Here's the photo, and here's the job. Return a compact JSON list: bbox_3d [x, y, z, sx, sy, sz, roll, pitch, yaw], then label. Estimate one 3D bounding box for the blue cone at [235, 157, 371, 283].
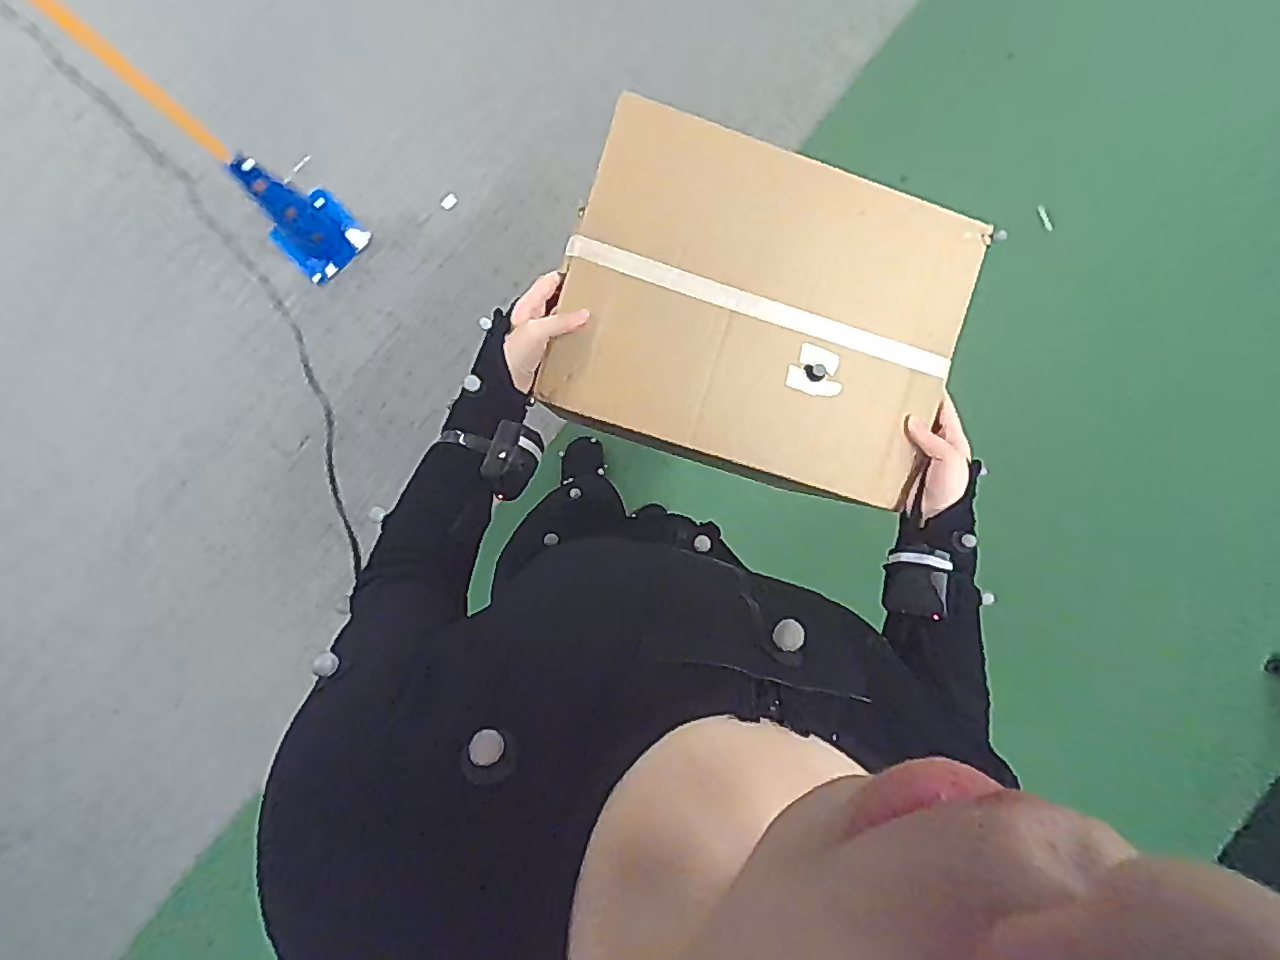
[{"bbox_3d":[-0.839,-0.658,1.300,0.193,0.380,0.192,-42,93,-3],"label":"blue cone"}]
